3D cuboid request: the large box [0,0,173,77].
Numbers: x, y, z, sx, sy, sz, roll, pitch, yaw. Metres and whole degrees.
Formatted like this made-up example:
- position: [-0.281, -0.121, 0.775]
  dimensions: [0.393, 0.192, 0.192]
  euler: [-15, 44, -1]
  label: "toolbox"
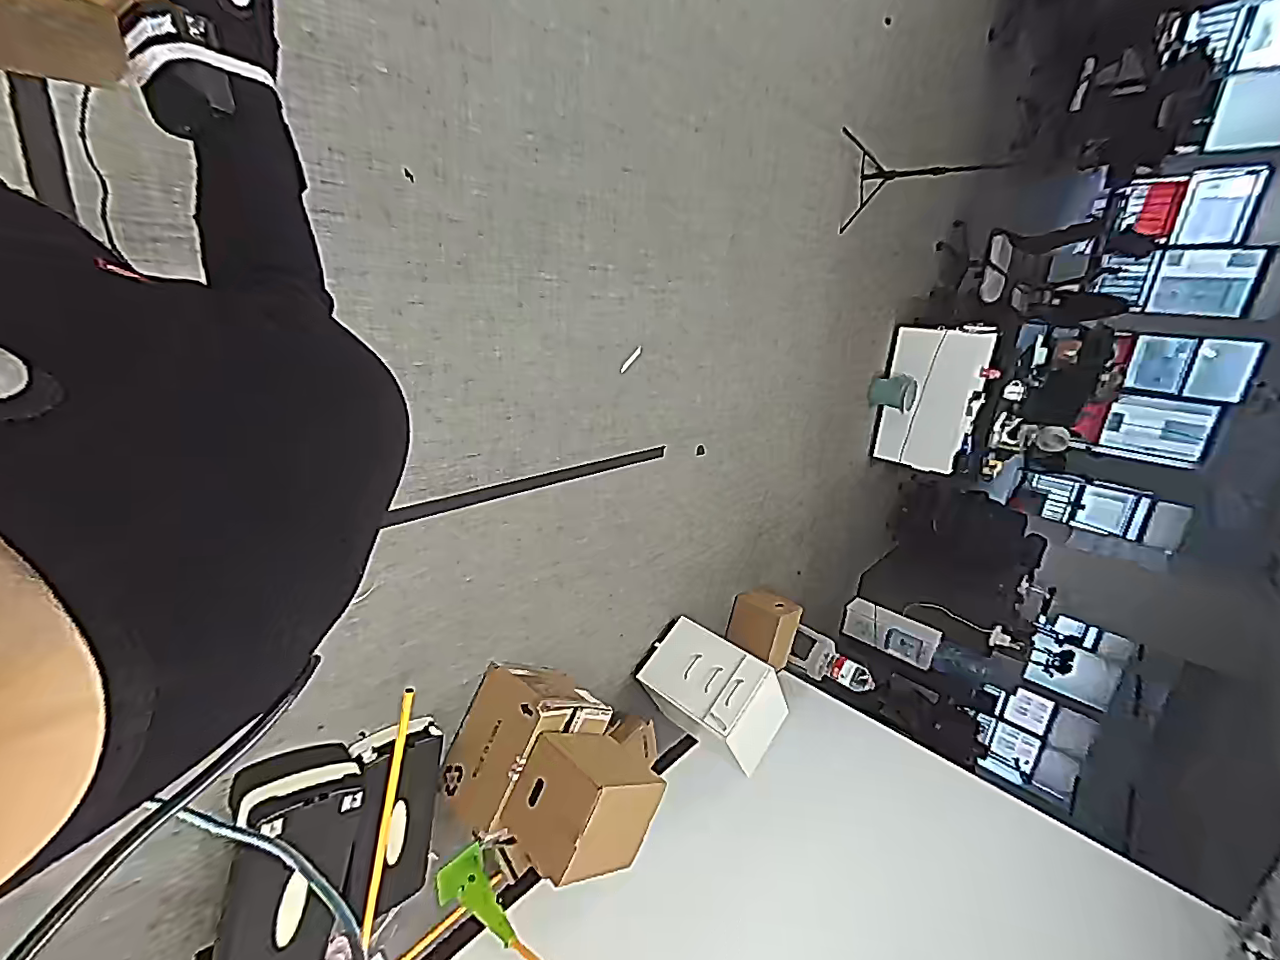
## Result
- position: [-0.572, -0.464, 0.280]
  dimensions: [0.408, 0.320, 0.320]
  euler: [-22, 123, -46]
  label: "large box"
